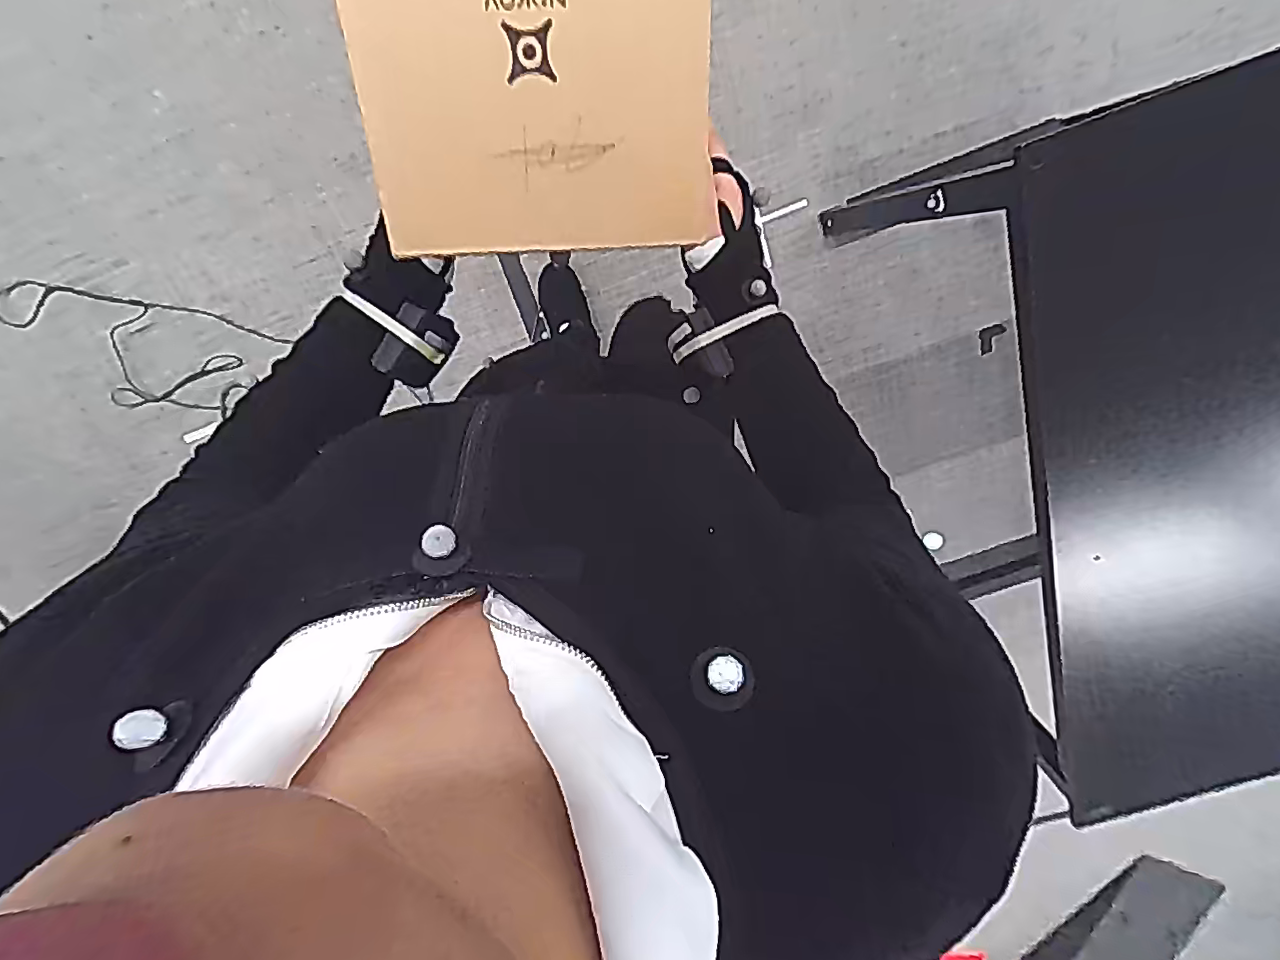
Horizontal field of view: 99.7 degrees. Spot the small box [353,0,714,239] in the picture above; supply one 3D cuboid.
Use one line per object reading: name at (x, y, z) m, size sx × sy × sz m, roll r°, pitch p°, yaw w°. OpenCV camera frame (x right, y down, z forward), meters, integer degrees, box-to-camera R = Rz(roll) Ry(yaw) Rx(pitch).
small box at (-0.048, -0.244, 0.320) m, size 0.168 × 0.176 × 0.179 m, roll -2°, pitch 118°, yaw 1°
